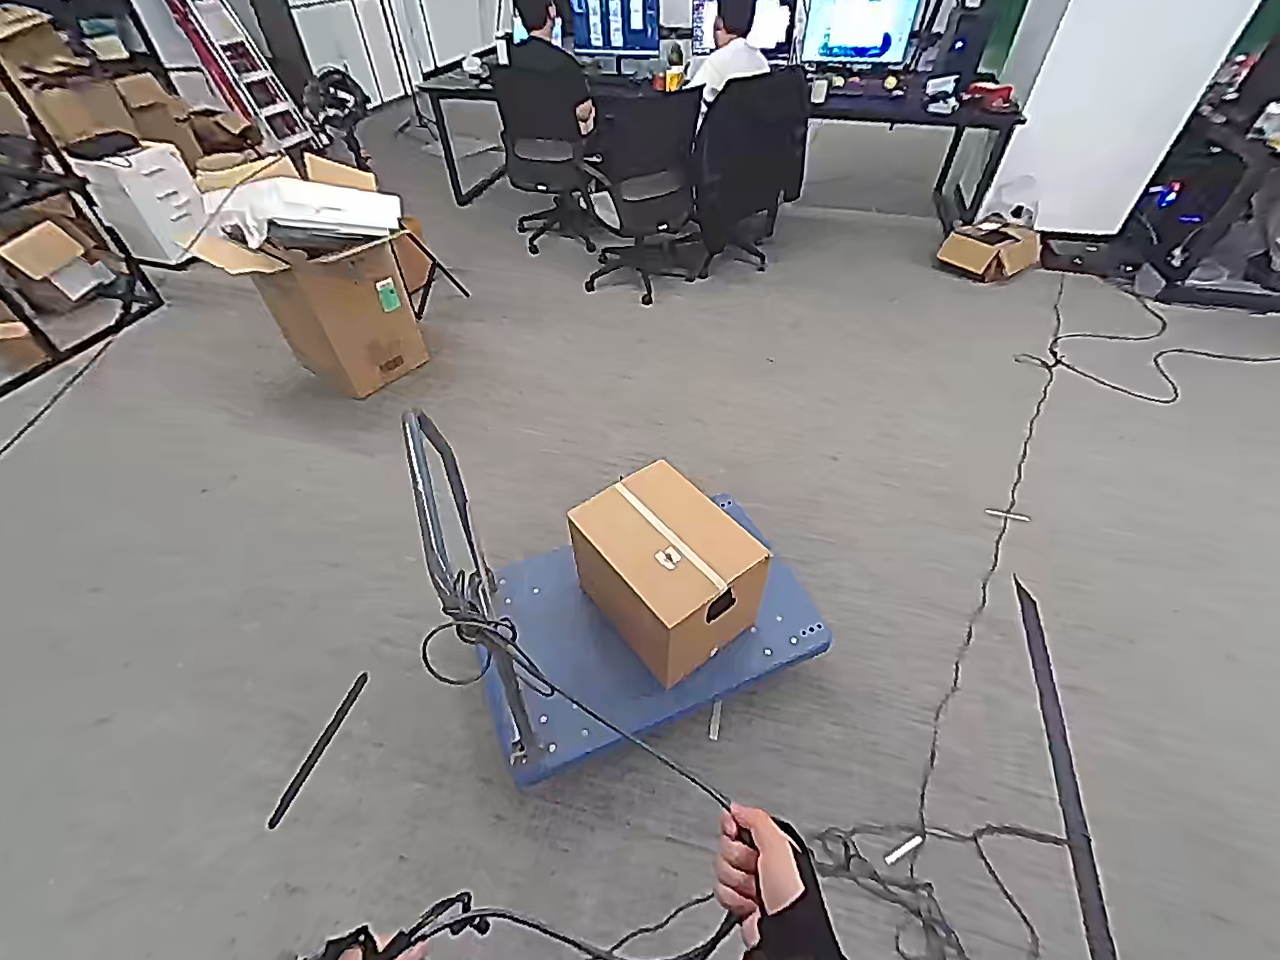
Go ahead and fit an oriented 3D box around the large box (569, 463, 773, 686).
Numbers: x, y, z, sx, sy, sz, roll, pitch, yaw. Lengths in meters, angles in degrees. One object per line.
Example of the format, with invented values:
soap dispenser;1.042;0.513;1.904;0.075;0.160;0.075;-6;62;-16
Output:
large box;0.064;0.232;1.388;0.320;0.320;0.408;-30;54;-24
